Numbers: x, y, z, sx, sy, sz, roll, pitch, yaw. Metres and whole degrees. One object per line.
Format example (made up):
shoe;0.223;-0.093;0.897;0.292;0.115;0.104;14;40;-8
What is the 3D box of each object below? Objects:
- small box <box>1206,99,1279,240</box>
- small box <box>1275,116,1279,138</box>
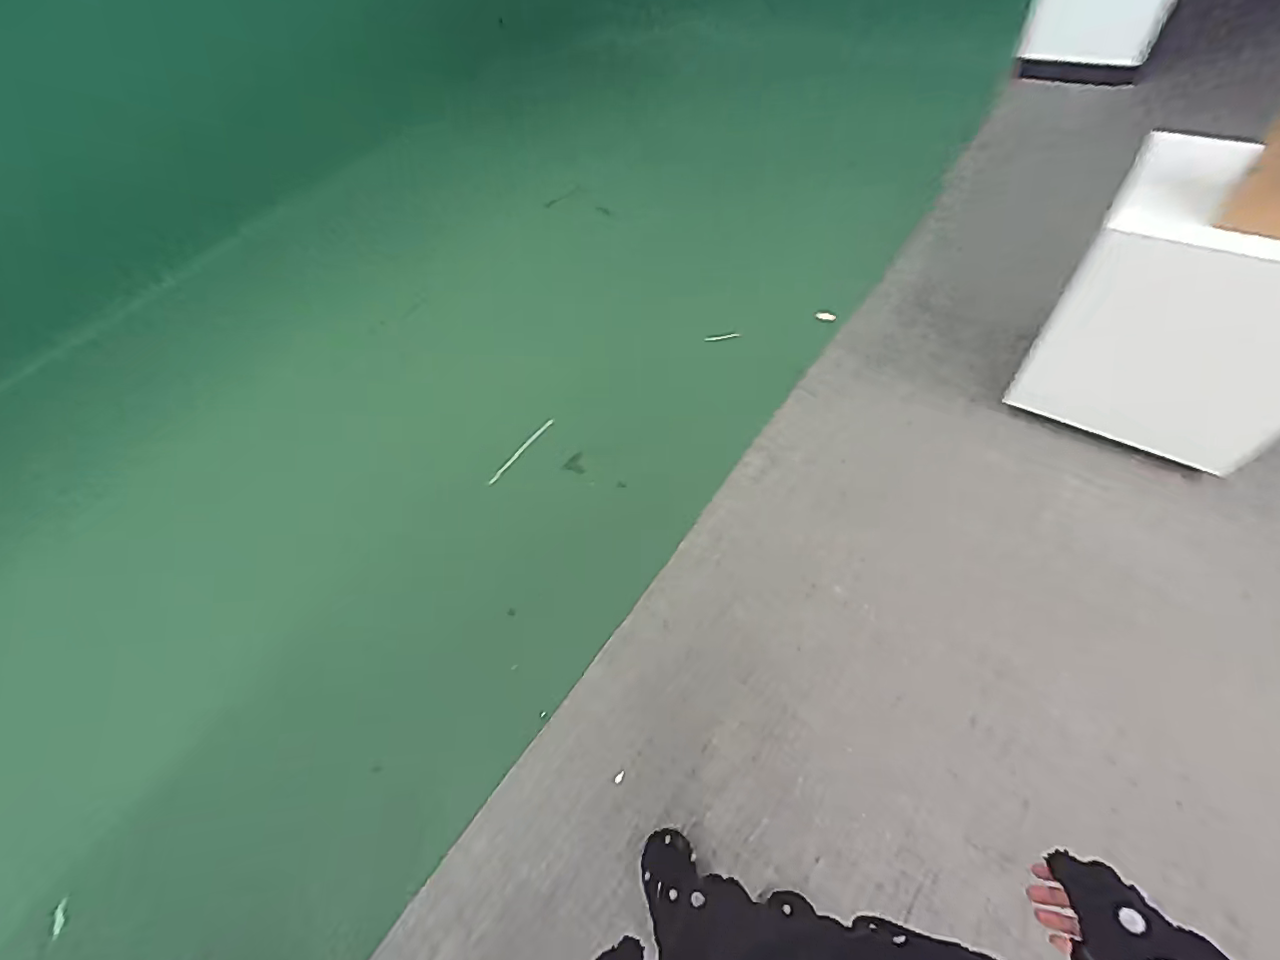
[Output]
small box;1.223;-0.573;1.004;0.179;0.176;0.168;28;68;25
small box;1.199;-0.660;0.870;0.168;0.176;0.179;27;68;24
